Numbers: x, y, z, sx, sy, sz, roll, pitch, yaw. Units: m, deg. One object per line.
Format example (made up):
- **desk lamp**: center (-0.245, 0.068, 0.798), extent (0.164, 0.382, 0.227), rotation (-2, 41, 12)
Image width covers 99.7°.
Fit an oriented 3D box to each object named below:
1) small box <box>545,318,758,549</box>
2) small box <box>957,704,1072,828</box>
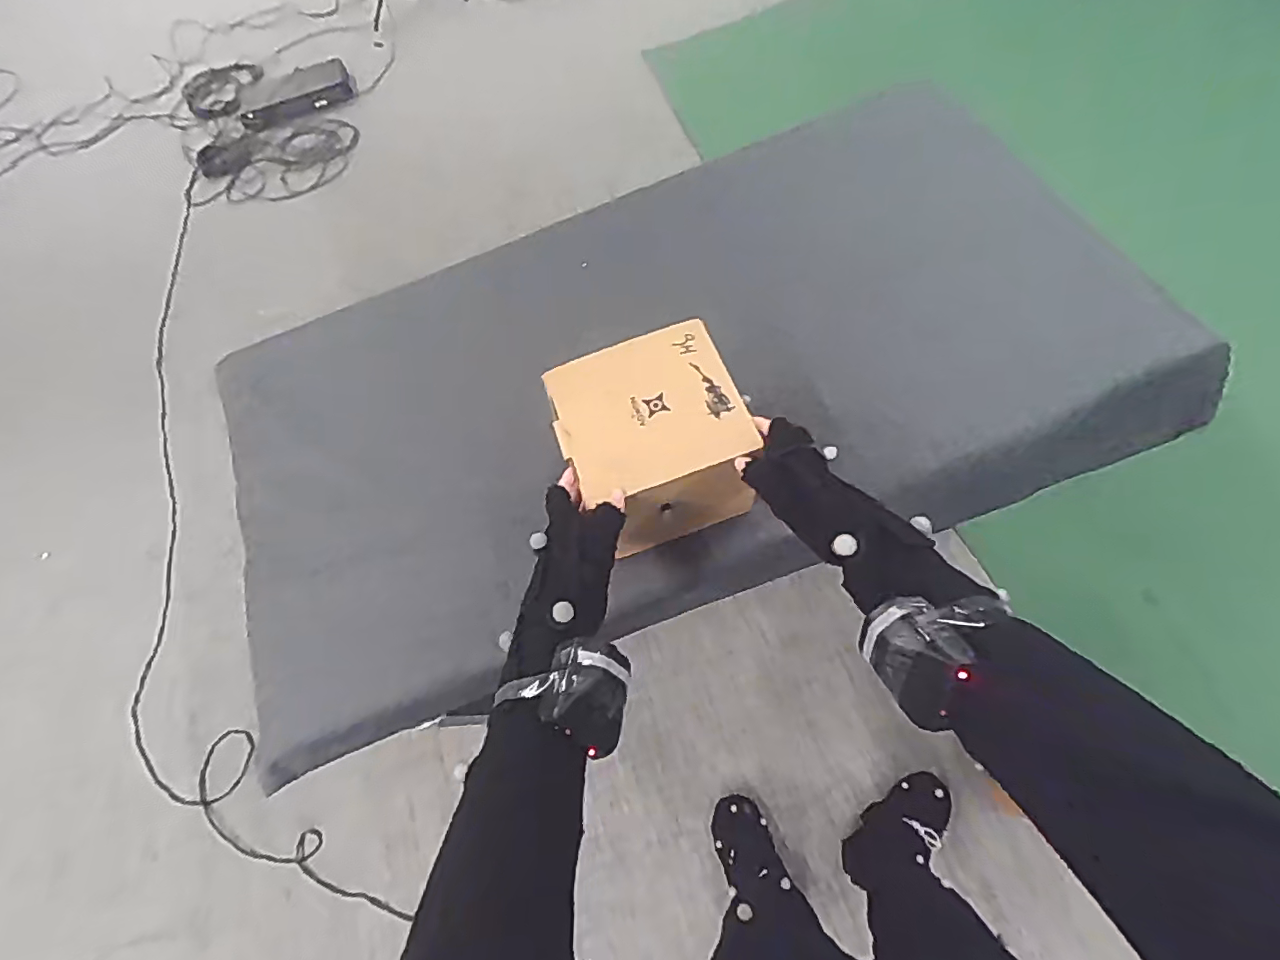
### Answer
- **small box**: center (0.016, -0.040, 0.599), extent (0.179, 0.176, 0.168), rotation (-19, 65, -1)
- **small box**: center (0.766, 0.545, 1.053), extent (0.179, 0.176, 0.168), rotation (-19, 65, 0)
